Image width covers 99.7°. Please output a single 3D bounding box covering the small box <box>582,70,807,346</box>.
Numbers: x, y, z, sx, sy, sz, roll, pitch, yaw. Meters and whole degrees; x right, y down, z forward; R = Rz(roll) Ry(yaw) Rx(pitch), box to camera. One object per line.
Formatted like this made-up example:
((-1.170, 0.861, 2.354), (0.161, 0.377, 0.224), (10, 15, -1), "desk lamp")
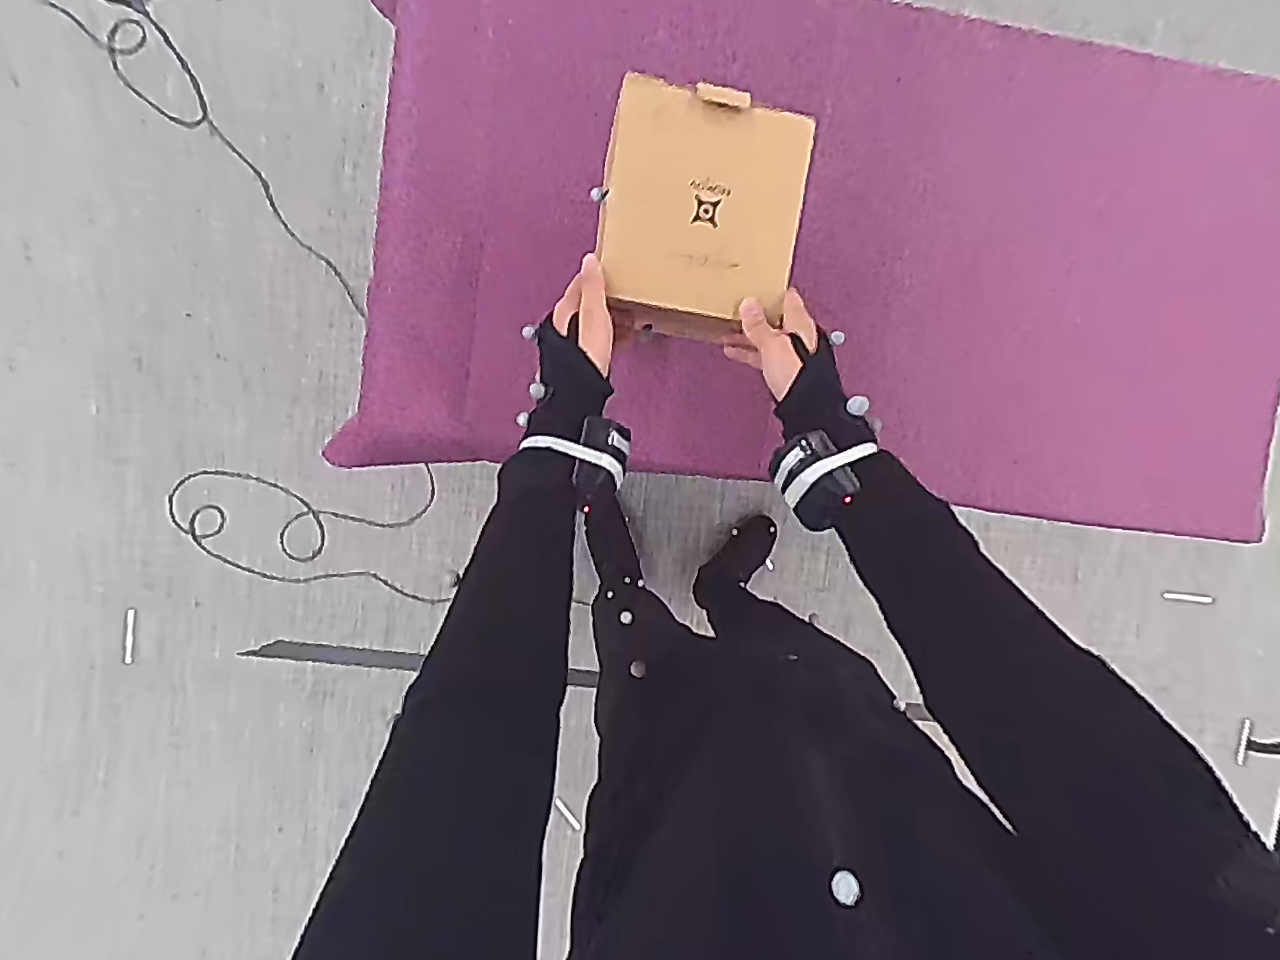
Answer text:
((0.036, -0.238, 0.525), (0.168, 0.176, 0.179), (8, 97, -9), "small box")
